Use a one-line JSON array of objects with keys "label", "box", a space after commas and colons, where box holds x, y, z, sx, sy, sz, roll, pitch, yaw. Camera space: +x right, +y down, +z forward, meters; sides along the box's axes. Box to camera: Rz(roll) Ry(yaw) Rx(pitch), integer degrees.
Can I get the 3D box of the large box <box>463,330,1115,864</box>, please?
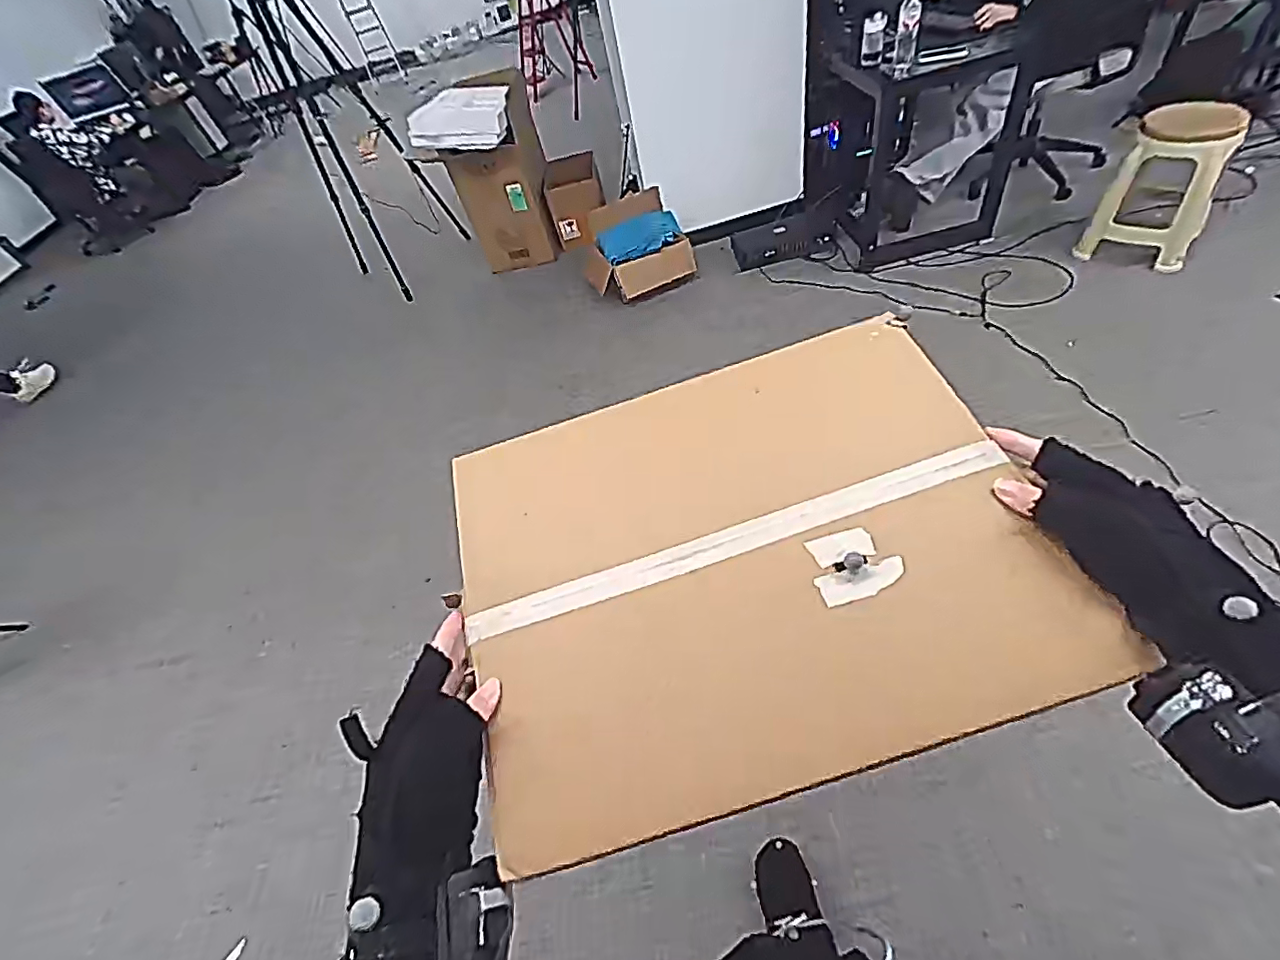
[{"label": "large box", "box": [0.092, 0.123, 0.536, 0.408, 0.320, 0.320, -19, 59, -1]}]
